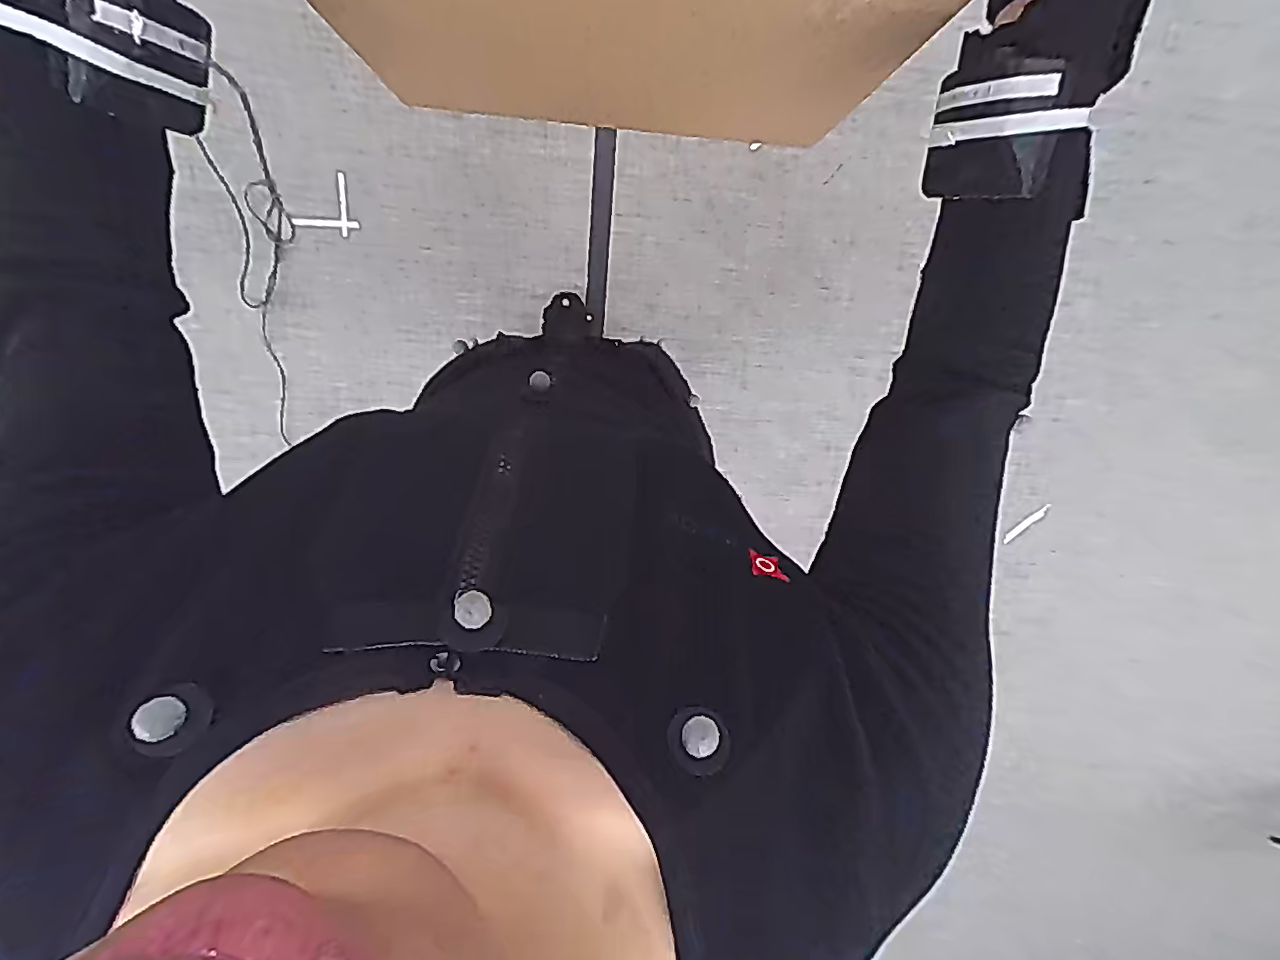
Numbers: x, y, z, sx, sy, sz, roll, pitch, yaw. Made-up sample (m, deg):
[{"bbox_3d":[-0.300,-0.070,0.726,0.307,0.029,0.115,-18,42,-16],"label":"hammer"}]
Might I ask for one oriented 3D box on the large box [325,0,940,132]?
[{"bbox_3d":[-0.009,-0.459,0.346,0.408,0.320,0.320,3,106,-4],"label":"large box"}]
